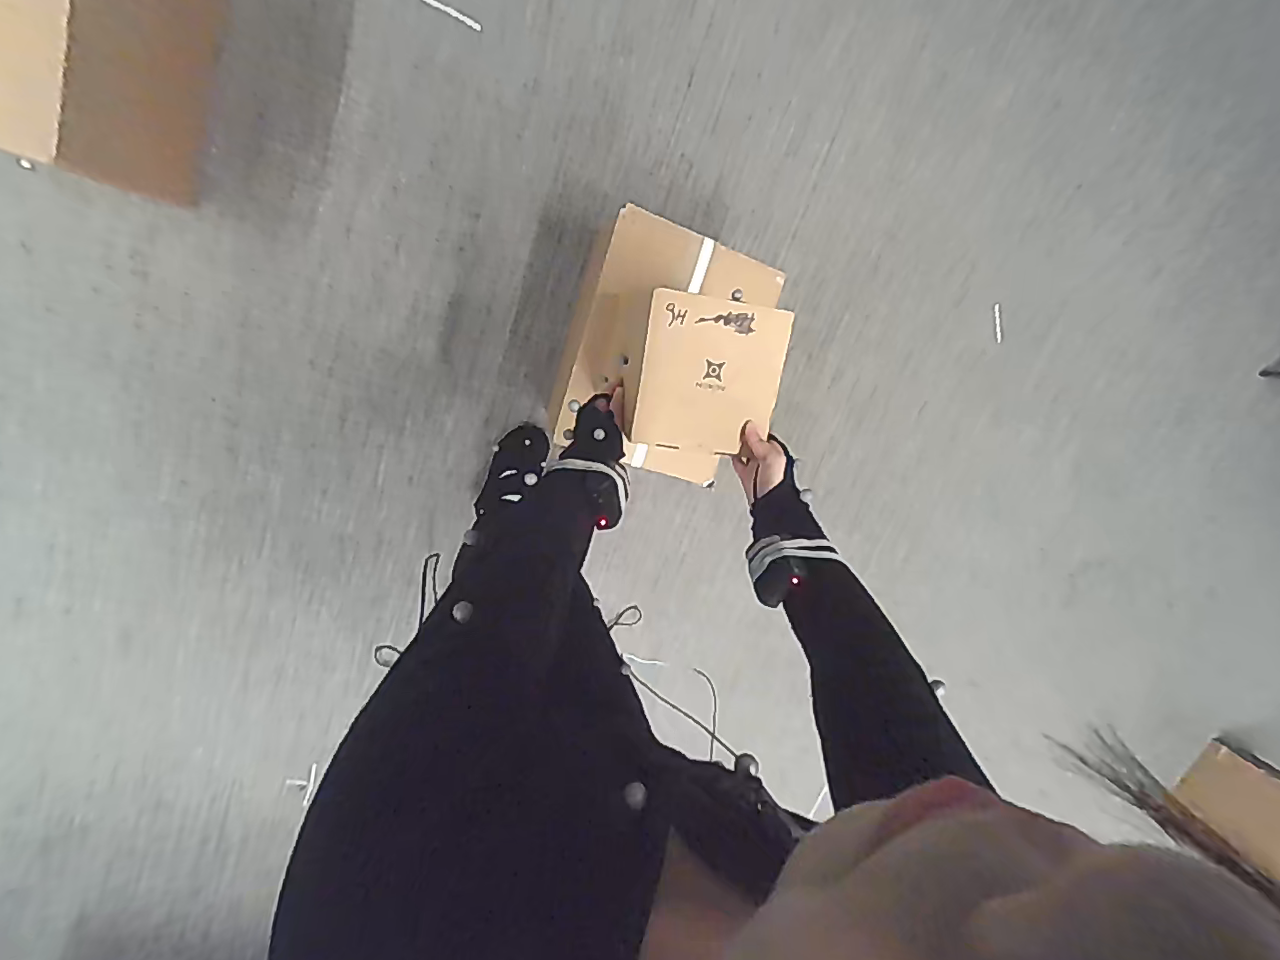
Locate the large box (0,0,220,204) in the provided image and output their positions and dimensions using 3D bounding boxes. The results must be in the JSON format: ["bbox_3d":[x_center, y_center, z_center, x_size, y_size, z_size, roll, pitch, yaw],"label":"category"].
[{"bbox_3d":[-0.863,-0.677,0.763,0.320,0.320,0.408,16,102,-16],"label":"large box"}]

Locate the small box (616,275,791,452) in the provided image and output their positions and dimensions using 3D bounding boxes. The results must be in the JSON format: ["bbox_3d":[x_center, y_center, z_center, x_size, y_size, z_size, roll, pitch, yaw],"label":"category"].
[{"bbox_3d":[0.067,-0.148,0.695,0.168,0.176,0.179,8,103,-12],"label":"small box"}]
